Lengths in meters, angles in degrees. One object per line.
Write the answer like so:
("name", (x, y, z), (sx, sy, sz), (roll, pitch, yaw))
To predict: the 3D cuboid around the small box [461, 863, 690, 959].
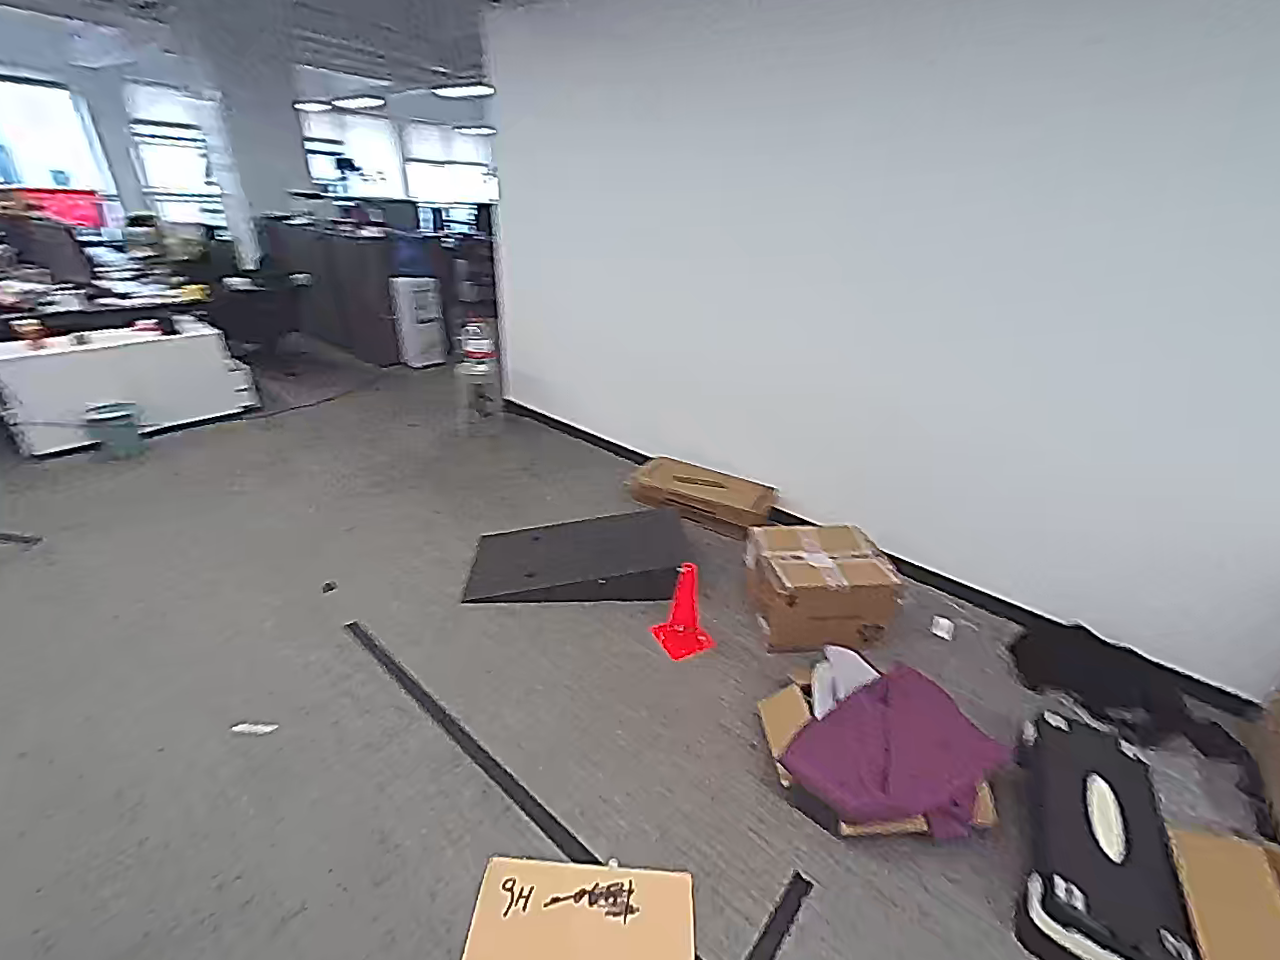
("small box", (-0.050, 0.424, 0.402), (0.168, 0.176, 0.179), (4, 32, 0))
